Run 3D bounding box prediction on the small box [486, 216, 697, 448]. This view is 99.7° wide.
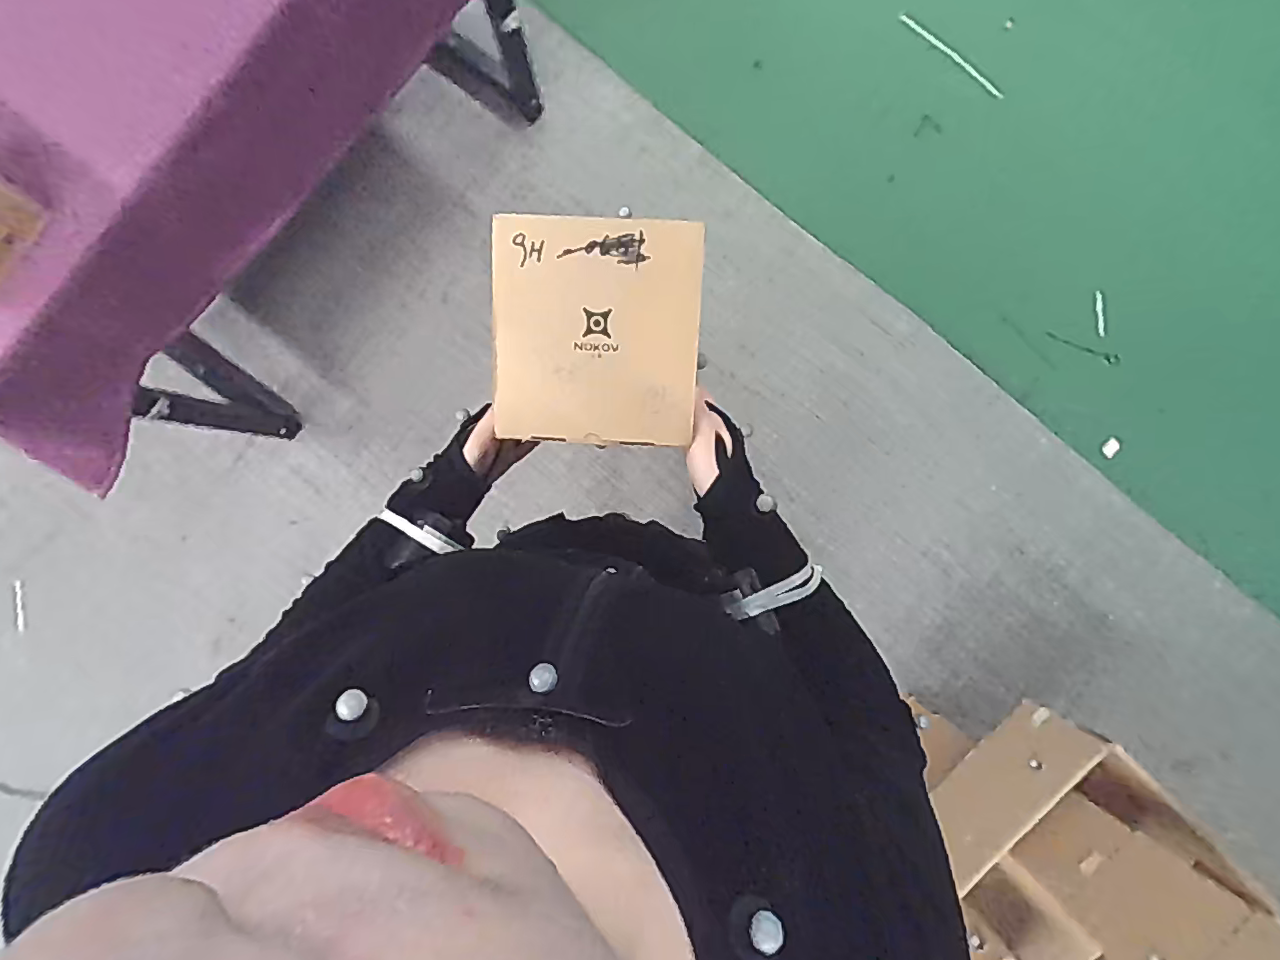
[{"bbox_3d":[-0.039,-0.133,0.511,0.168,0.176,0.179,2,102,0],"label":"small box"}]

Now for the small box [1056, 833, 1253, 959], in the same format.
[{"bbox_3d":[0.763,0.664,0.774,0.168,0.176,0.179,45,90,1],"label":"small box"}]

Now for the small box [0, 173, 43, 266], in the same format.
[{"bbox_3d":[-0.963,-0.376,0.698,0.179,0.176,0.168,36,88,1],"label":"small box"}]
